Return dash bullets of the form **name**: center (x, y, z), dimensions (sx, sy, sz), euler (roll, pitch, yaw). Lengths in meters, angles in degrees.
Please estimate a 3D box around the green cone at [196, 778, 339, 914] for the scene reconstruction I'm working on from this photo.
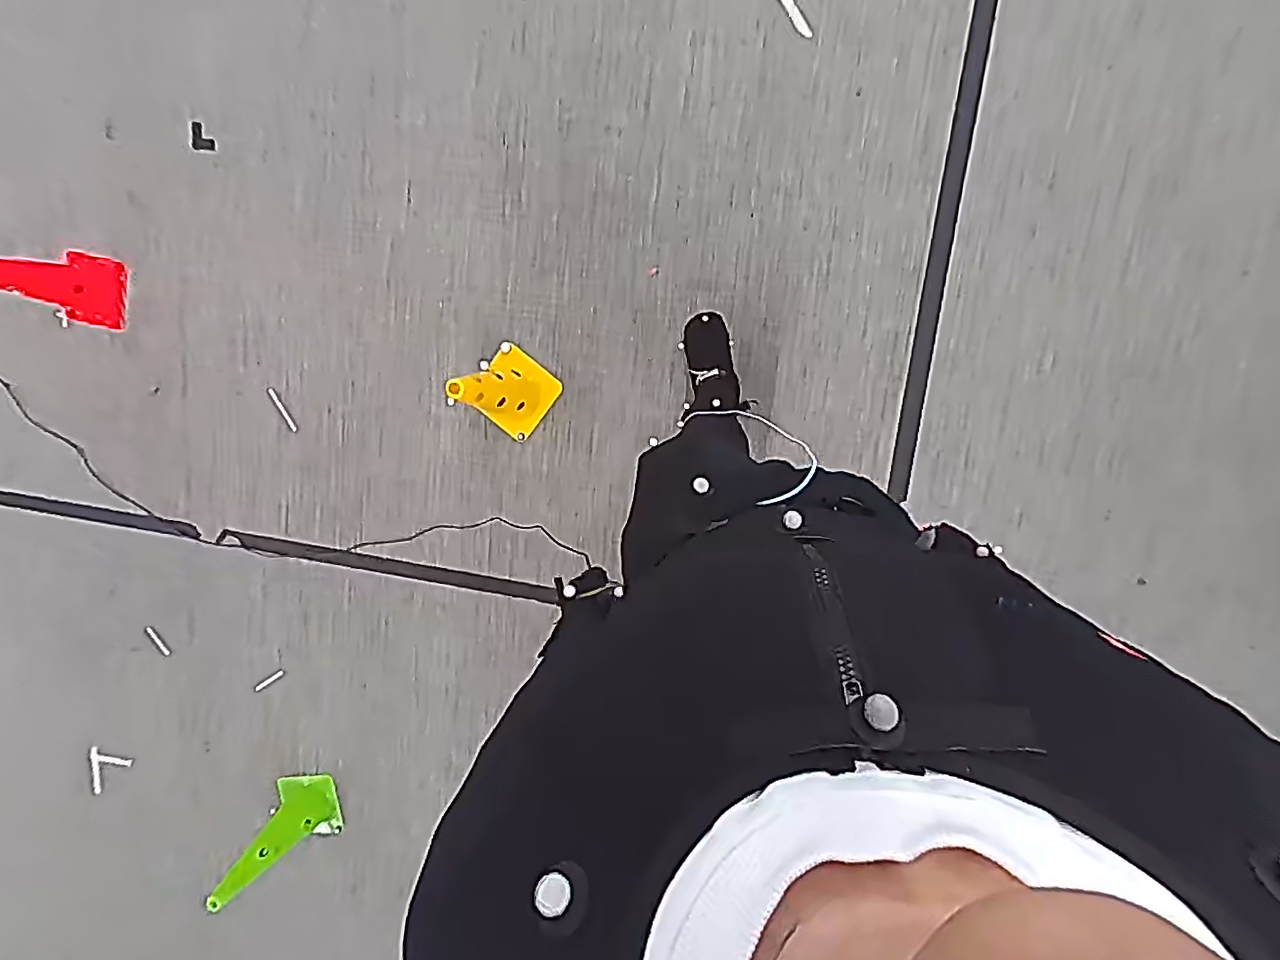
- **green cone**: center (-1.095, 1.073, 1.565), dimensions (0.202, 0.368, 0.200), euler (-8, 96, 10)

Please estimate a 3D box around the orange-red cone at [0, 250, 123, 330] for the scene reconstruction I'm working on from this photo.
- **orange-red cone**: center (-1.614, -0.526, 1.403), dimensions (0.199, 0.360, 0.198), euler (15, 100, 4)
